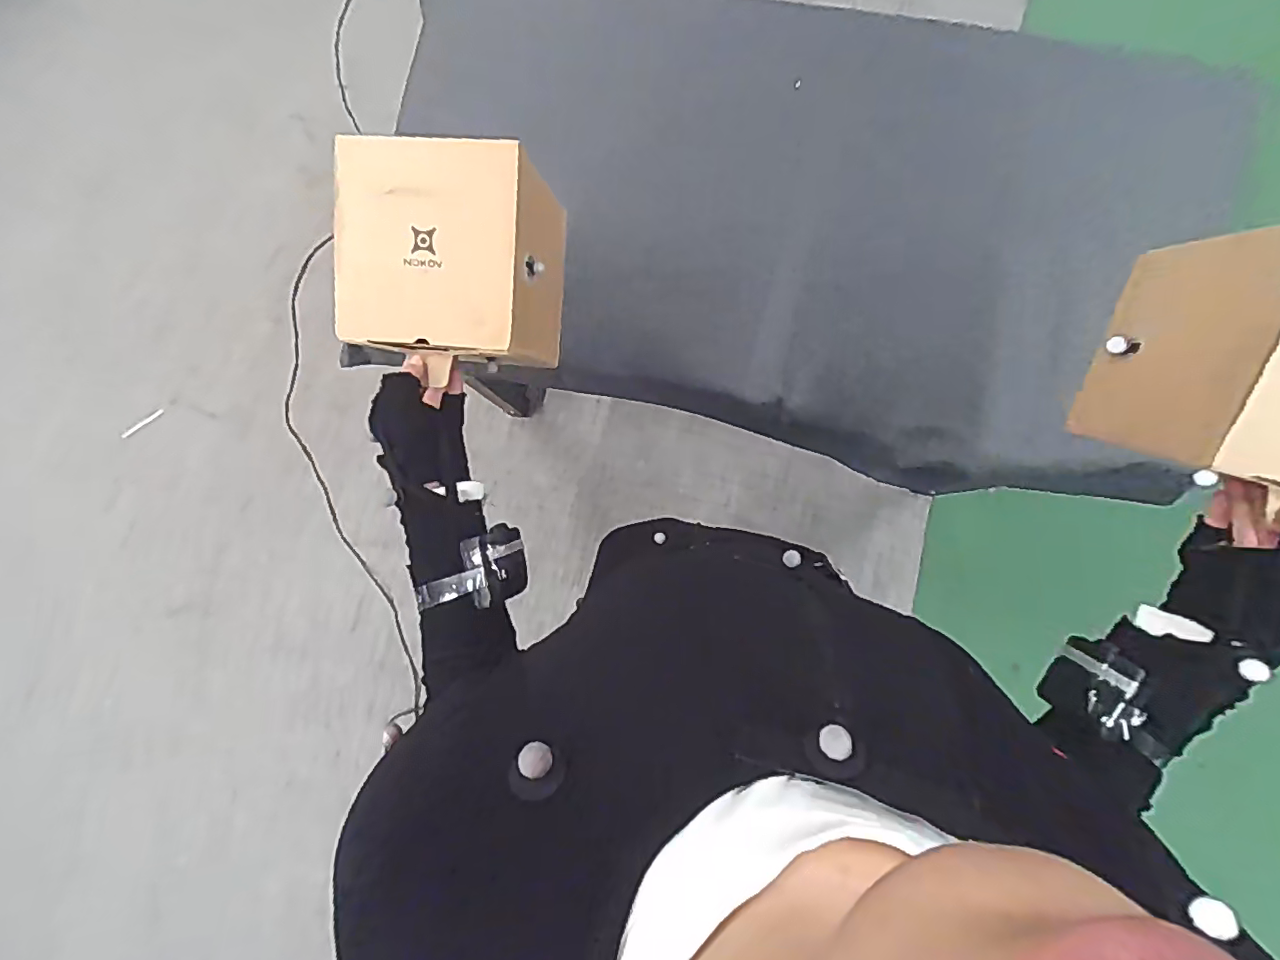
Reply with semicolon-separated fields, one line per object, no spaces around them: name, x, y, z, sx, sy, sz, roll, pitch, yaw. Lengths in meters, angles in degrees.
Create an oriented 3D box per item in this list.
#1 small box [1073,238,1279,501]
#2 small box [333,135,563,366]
small box;0.513;-0.083;0.445;0.168;0.176;0.179;14;106;3
small box;-0.178;-0.212;0.544;0.168;0.176;0.179;5;98;4
